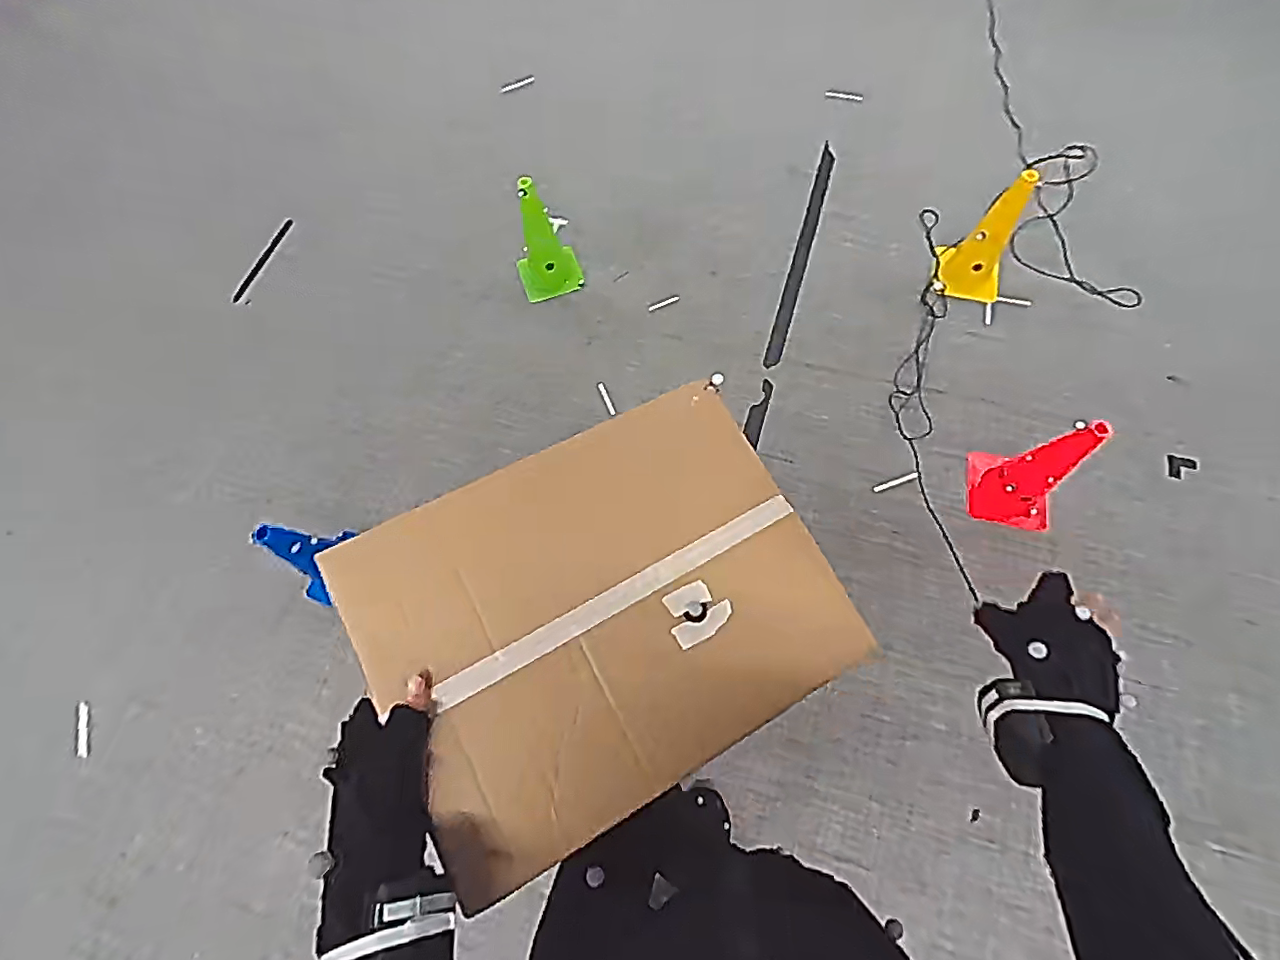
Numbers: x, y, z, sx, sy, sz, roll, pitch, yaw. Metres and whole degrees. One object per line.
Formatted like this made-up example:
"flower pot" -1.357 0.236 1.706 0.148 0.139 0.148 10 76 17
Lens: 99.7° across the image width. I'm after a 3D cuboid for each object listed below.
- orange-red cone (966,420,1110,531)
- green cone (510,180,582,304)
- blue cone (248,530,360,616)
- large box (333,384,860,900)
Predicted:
"orange-red cone" 0.972 -0.041 1.294 0.198 0.360 0.199 13 67 8
"green cone" -0.328 -0.766 1.681 0.202 0.368 0.200 -21 67 -3
"blue cone" -0.801 0.199 1.325 0.192 0.380 0.193 17 69 12
"large box" -0.050 0.158 0.635 0.408 0.320 0.320 -27 78 -15
